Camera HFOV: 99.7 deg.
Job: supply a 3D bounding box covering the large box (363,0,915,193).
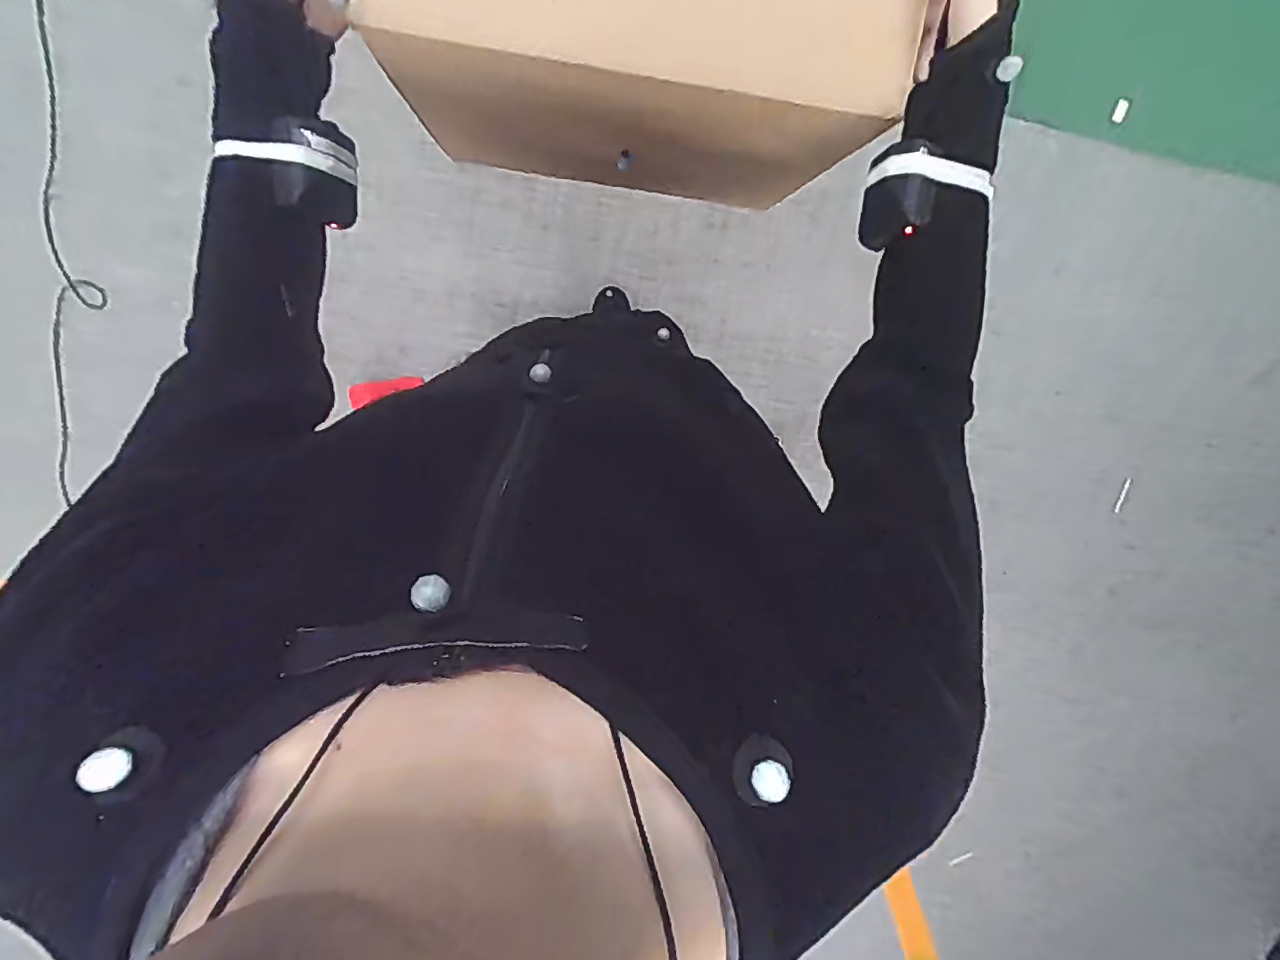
[{"bbox_3d":[0.005,-0.487,0.503,0.408,0.320,0.320,4,105,-7],"label":"large box"}]
